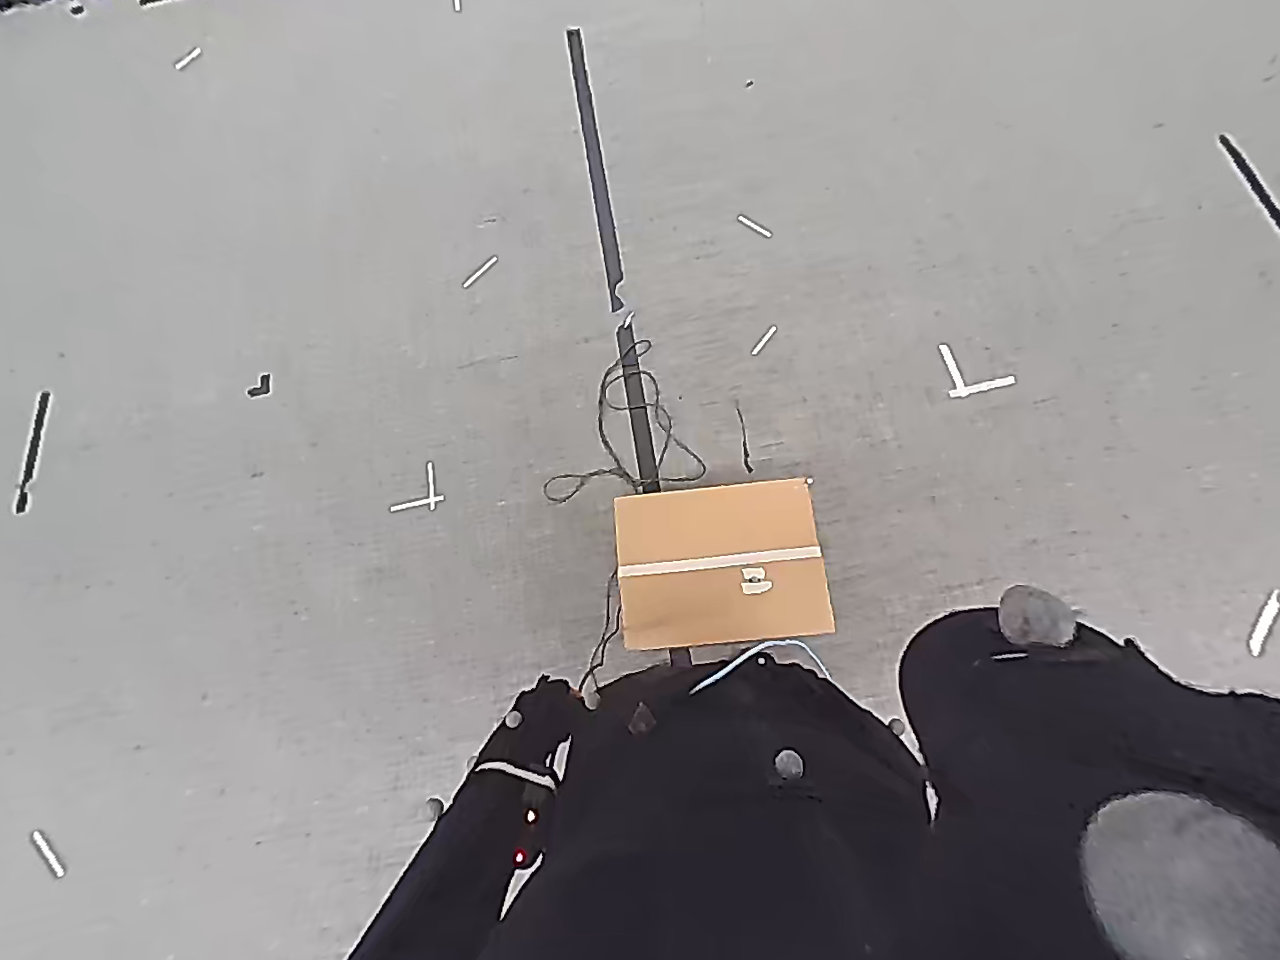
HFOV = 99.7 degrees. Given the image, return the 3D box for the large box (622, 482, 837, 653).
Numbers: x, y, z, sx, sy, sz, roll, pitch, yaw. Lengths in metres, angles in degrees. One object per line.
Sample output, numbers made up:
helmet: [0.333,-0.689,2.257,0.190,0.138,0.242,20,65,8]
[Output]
large box: [0.182,0.215,1.234,0.408,0.320,0.320,-6,73,3]
